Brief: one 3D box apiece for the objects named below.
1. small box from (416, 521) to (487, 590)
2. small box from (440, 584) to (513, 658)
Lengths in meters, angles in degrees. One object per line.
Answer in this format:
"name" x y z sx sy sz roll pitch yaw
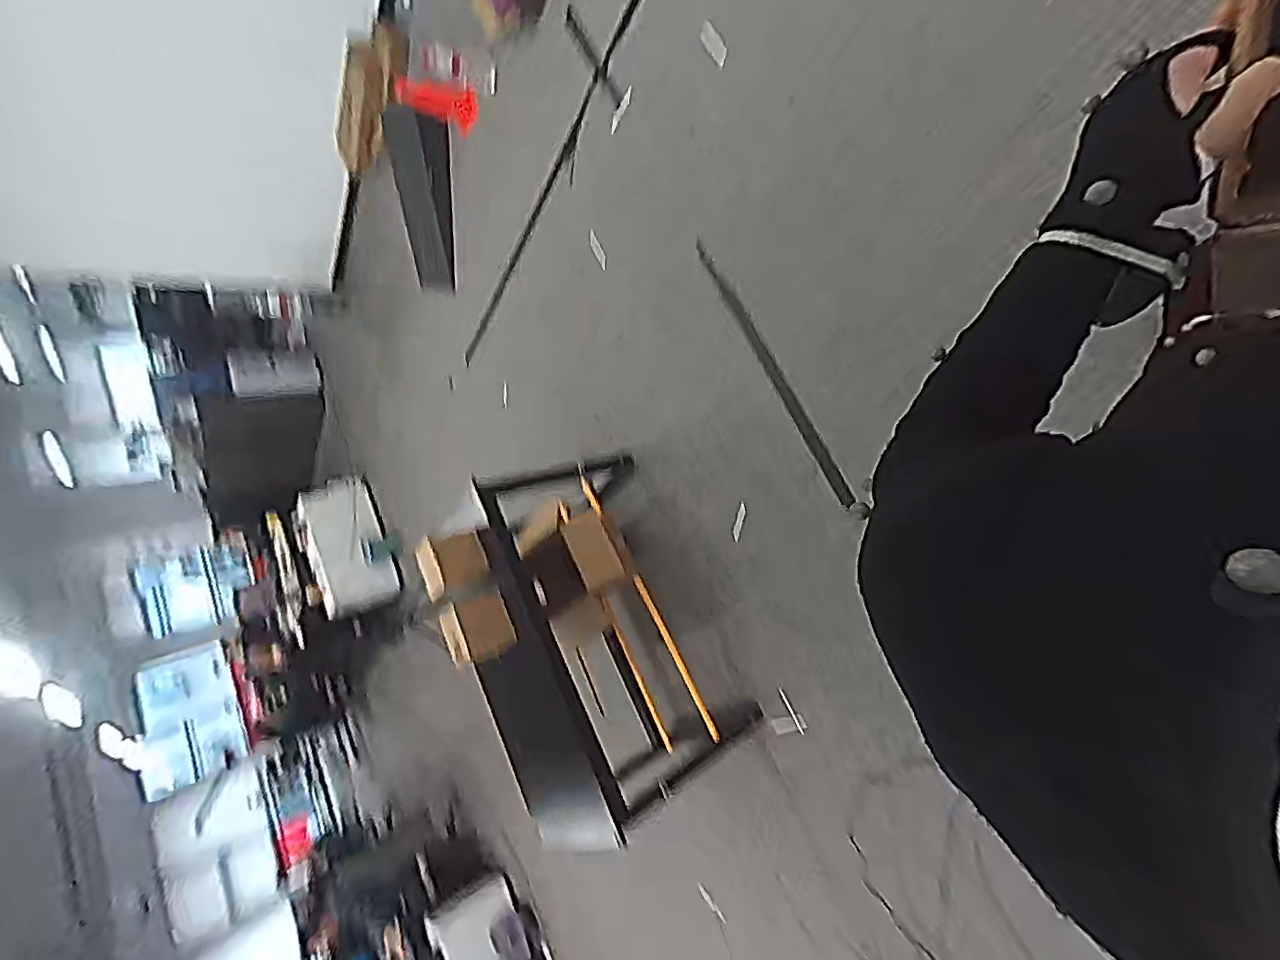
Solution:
"small box" -0.655 0.261 1.883 0.179 0.176 0.168 -39 72 47
"small box" -0.551 0.477 1.829 0.168 0.176 0.179 -39 71 47
